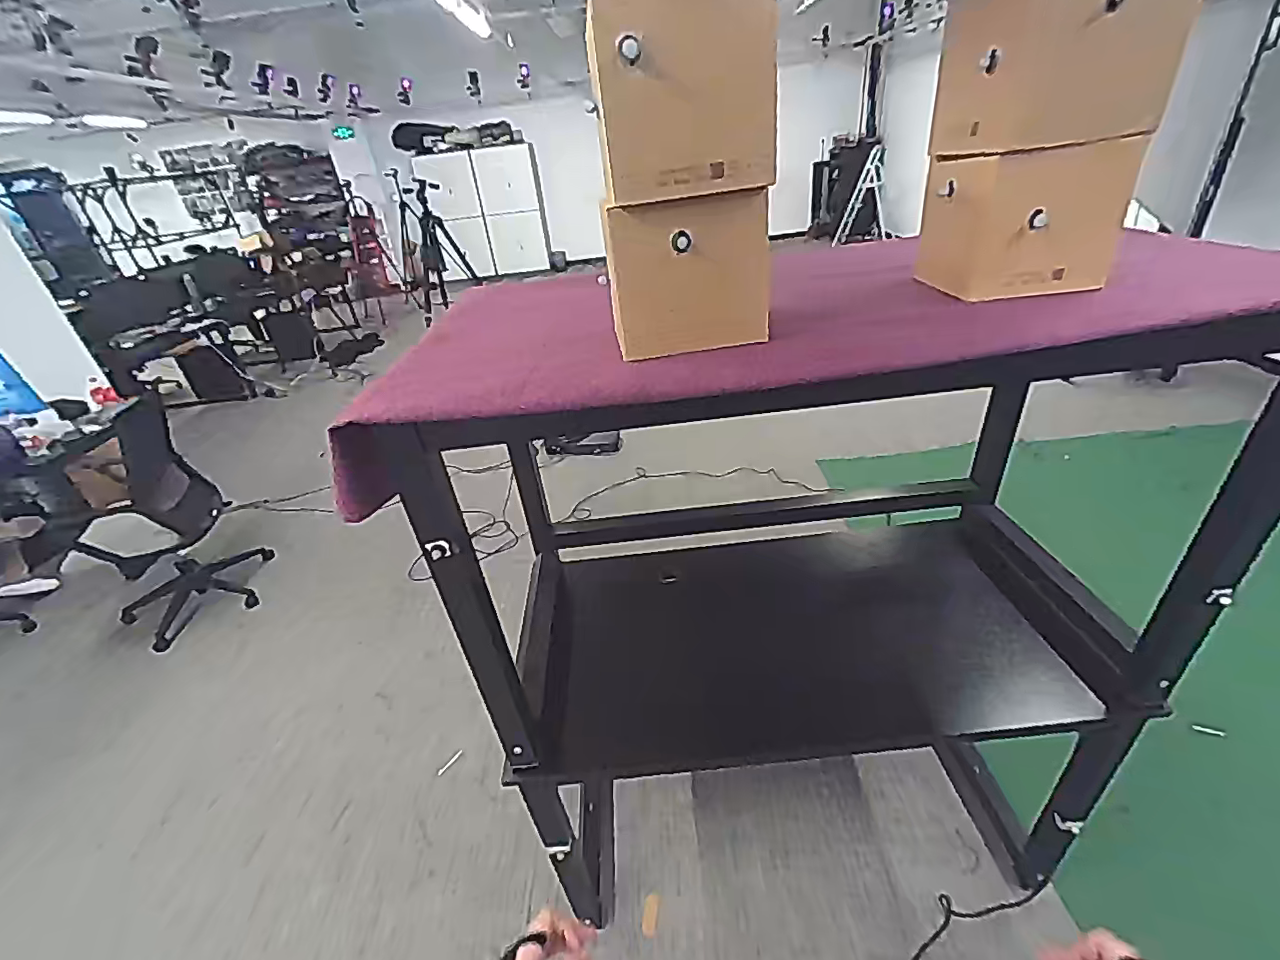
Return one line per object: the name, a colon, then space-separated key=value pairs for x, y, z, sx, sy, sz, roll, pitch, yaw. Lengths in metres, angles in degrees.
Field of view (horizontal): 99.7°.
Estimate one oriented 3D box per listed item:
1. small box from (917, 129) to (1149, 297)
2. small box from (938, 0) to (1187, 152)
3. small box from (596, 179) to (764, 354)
small box: x=0.486 y=-0.343 z=0.704 sx=0.168 sy=0.176 sz=0.179 roll=-5 pitch=30 yaw=5
small box: x=0.464 y=-0.478 z=0.614 sx=0.179 sy=0.176 sz=0.168 roll=-7 pitch=31 yaw=2
small box: x=0.047 y=-0.262 z=0.662 sx=0.179 sy=0.176 sz=0.168 roll=-9 pitch=31 yaw=-2
